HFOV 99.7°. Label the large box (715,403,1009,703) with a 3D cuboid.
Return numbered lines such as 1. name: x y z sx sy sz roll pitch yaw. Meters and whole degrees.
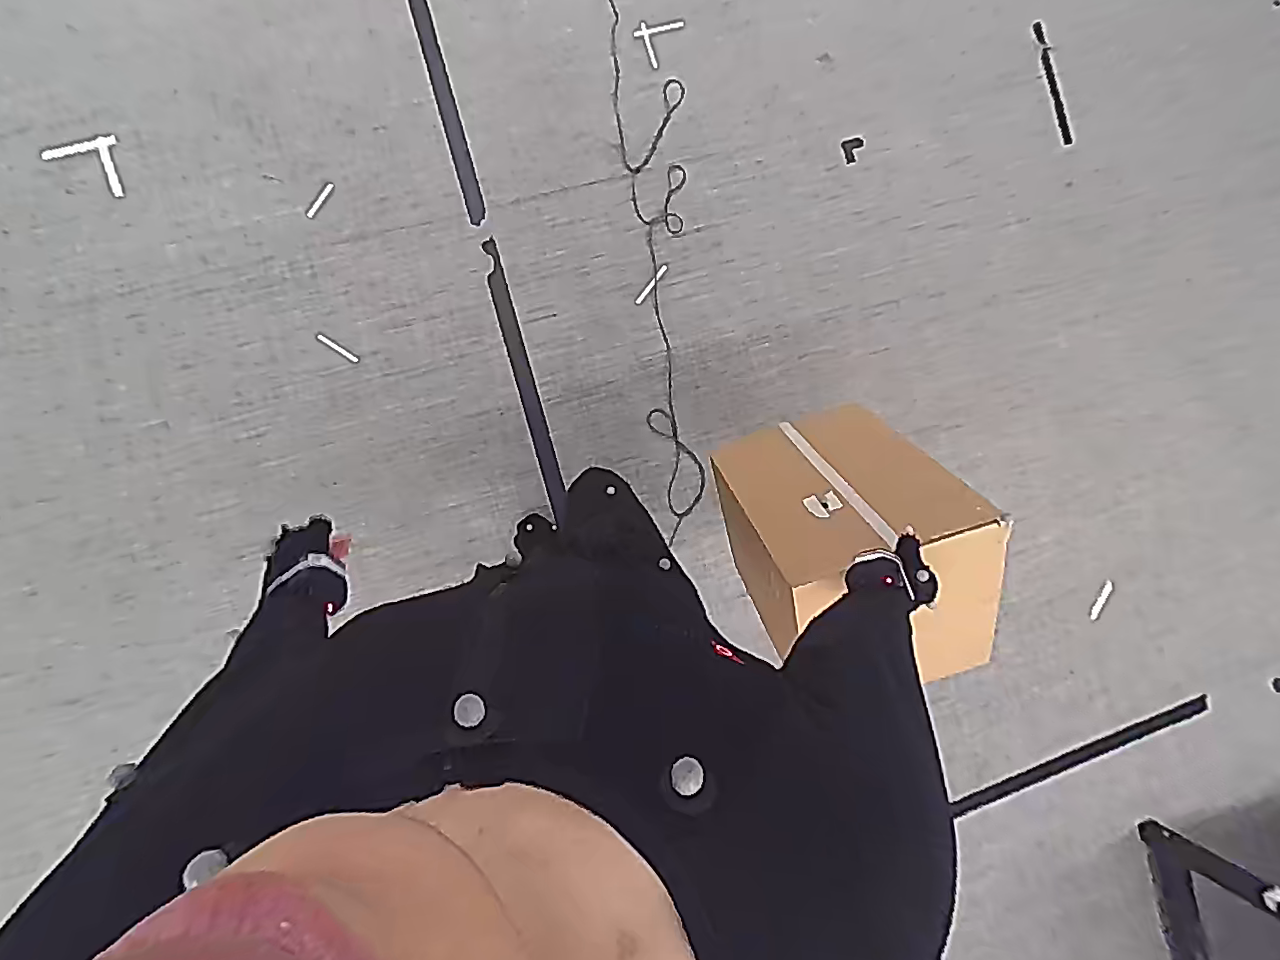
1. large box: 0.362 0.112 0.987 0.320 0.408 0.320 -18 124 -1
